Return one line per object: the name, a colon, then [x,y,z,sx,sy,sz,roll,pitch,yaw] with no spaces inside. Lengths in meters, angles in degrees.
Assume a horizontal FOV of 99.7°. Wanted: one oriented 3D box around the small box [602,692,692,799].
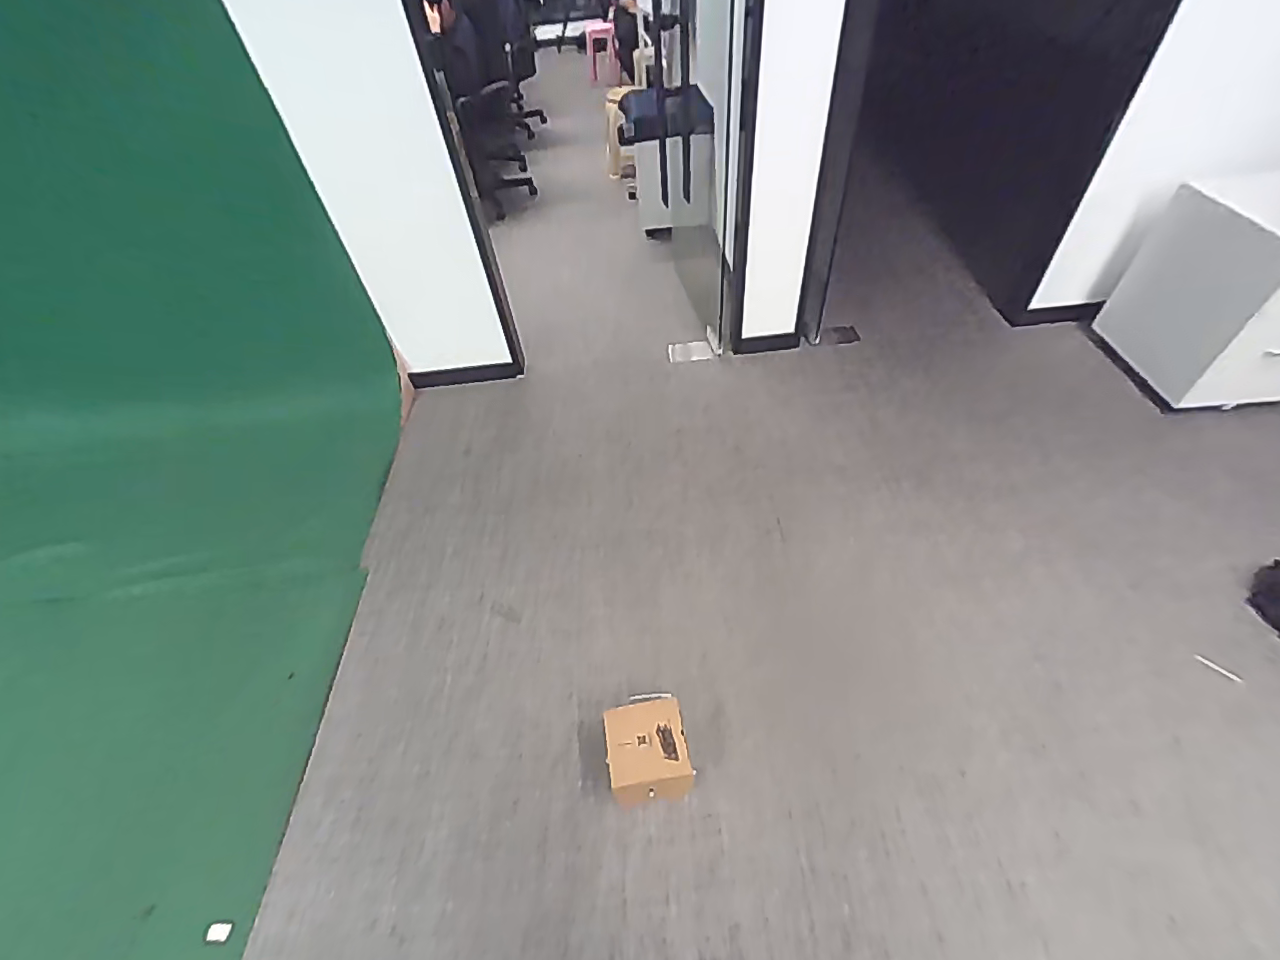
small box: [0.015,0.620,1.260,0.179,0.176,0.168,-12,49,-5]
